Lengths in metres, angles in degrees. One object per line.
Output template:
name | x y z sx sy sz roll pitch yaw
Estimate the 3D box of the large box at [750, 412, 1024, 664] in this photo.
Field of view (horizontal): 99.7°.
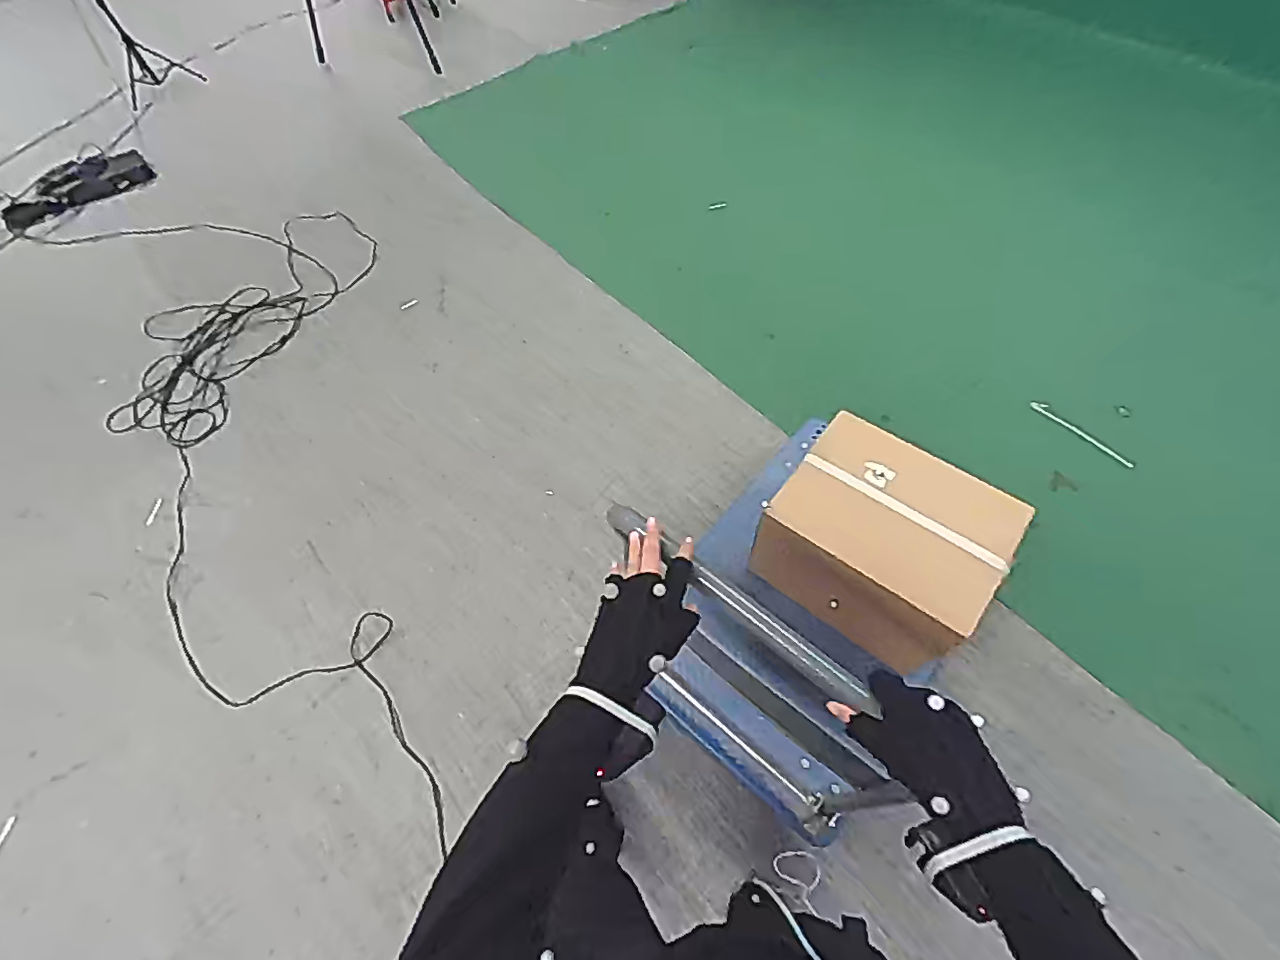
large box | 0.500 0.130 1.174 0.408 0.320 0.320 33 66 22
